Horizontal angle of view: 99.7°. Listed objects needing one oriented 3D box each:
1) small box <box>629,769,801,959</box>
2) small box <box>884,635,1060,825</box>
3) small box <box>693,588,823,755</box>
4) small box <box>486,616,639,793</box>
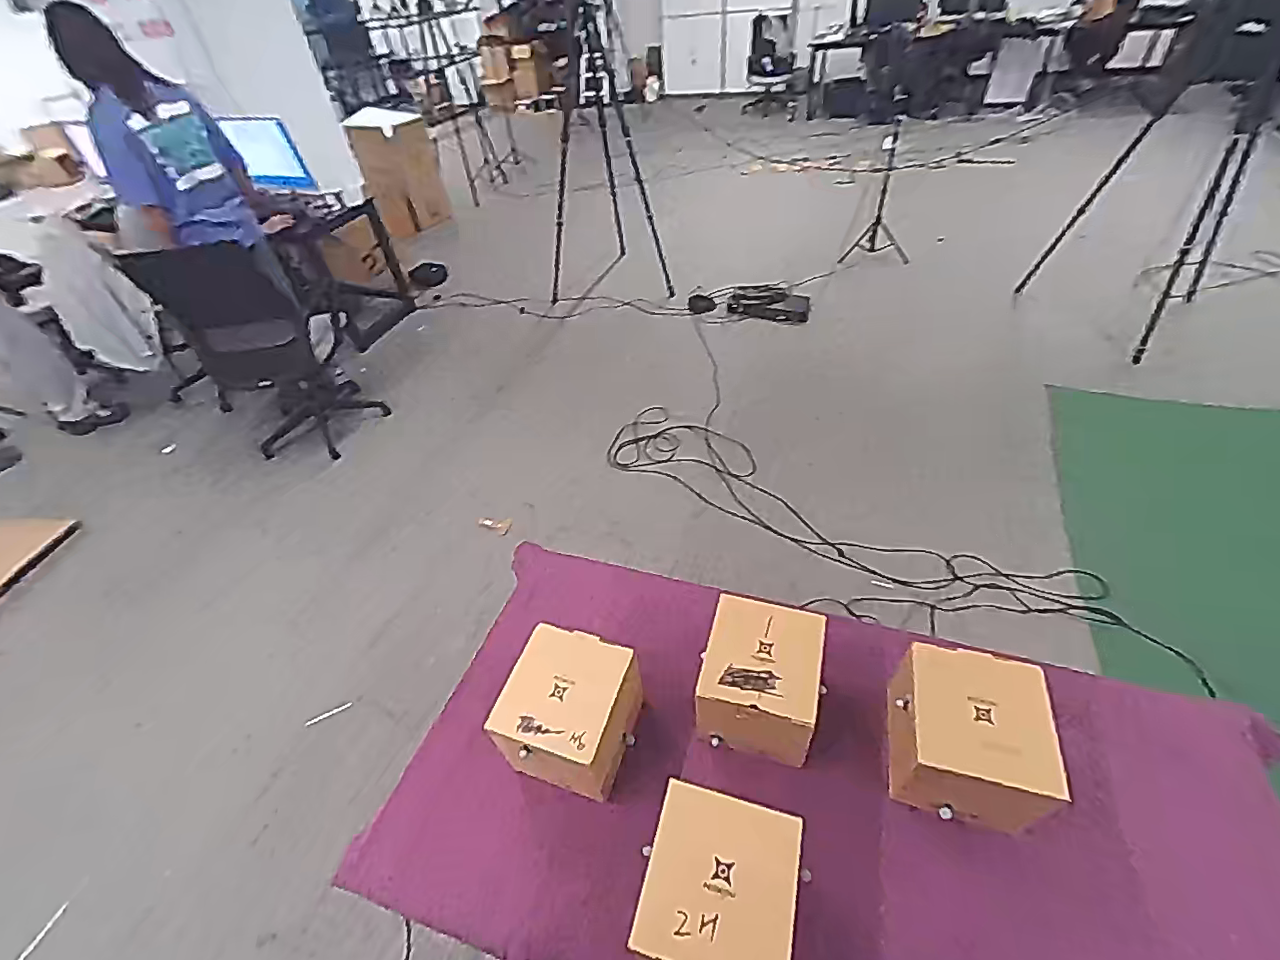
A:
[{"bbox_3d":[0.095,0.498,0.667,0.168,0.176,0.179,9,46,16],"label":"small box"},{"bbox_3d":[0.454,0.355,0.773,0.168,0.176,0.179,9,48,16],"label":"small box"},{"bbox_3d":[0.186,0.304,0.855,0.168,0.176,0.179,10,46,16],"label":"small box"},{"bbox_3d":[-0.107,0.347,0.842,0.168,0.176,0.179,10,46,18],"label":"small box"}]
